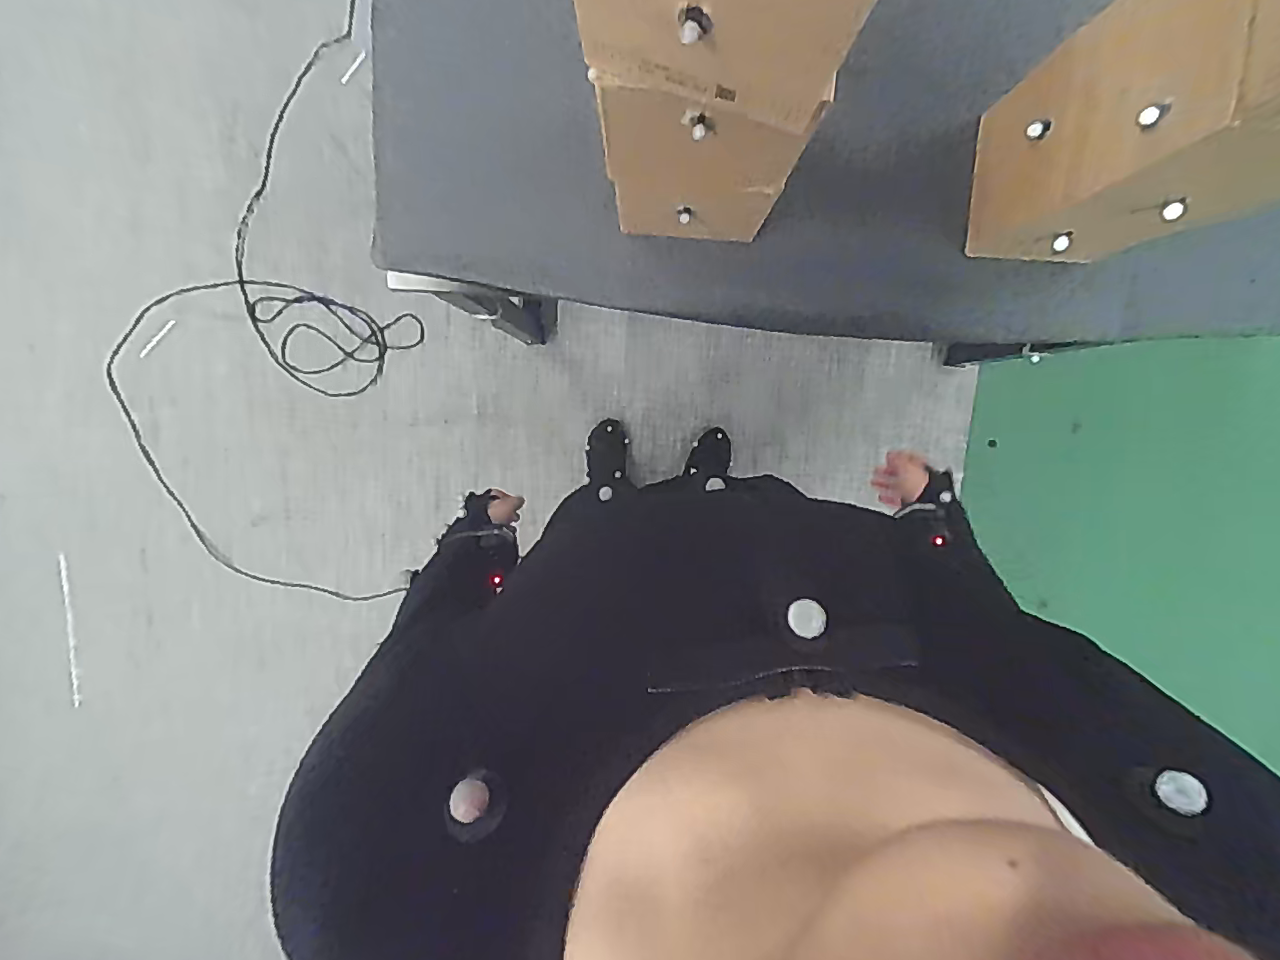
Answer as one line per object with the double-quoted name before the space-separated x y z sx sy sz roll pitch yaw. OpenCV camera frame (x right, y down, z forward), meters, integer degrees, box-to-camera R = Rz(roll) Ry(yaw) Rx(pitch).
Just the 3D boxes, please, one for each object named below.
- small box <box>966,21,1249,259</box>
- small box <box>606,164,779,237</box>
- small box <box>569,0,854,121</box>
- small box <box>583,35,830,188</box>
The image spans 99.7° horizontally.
"small box" 0.503 -0.364 0.613 0.168 0.176 0.179 3 96 0
"small box" 0.059 -0.390 0.615 0.179 0.176 0.168 4 97 1
"small box" 0.054 -0.340 0.291 0.168 0.176 0.179 17 97 -2
"small box" 0.053 -0.368 0.454 0.179 0.176 0.168 5 98 -1
